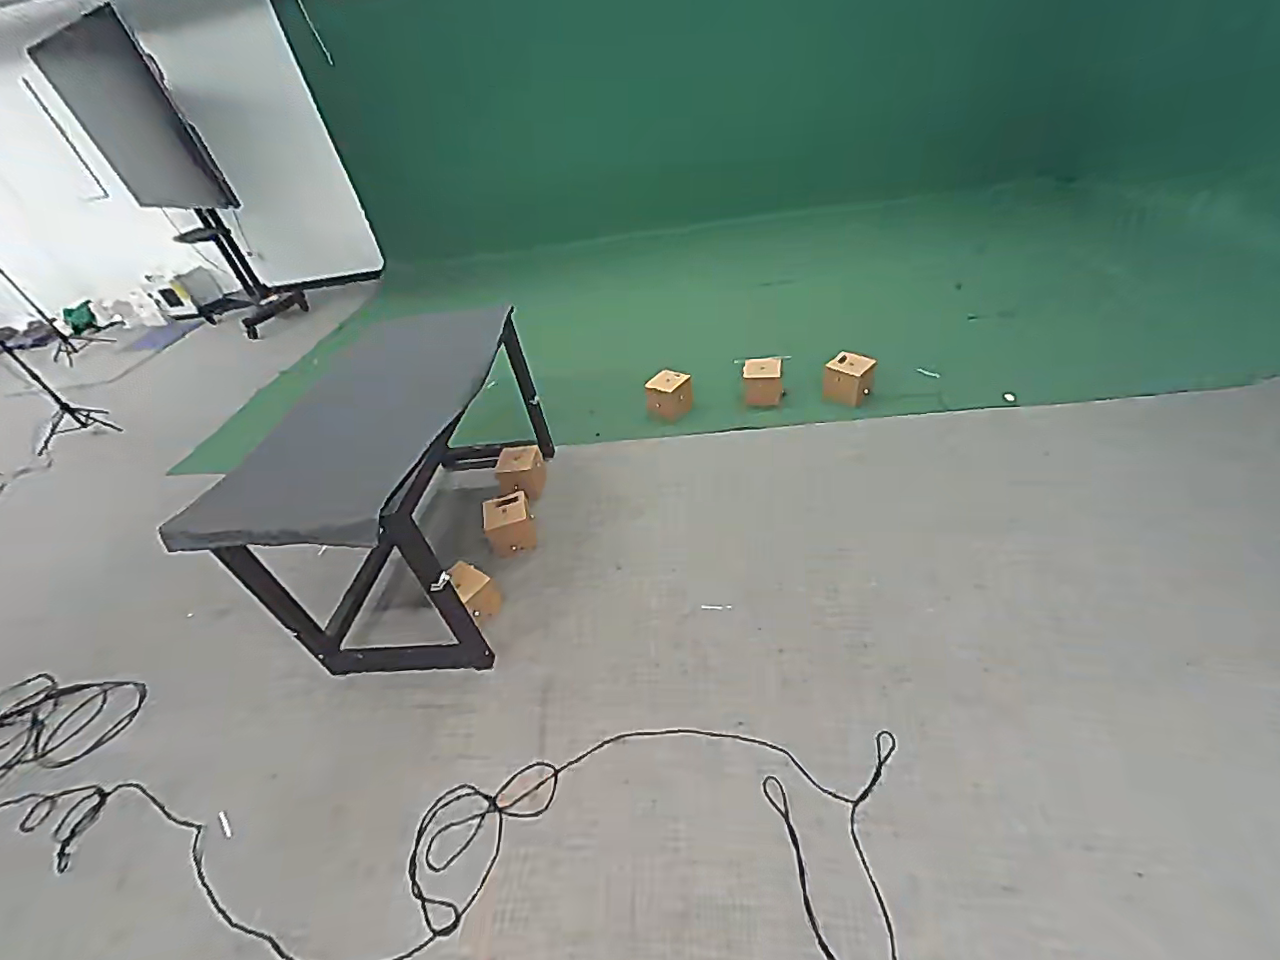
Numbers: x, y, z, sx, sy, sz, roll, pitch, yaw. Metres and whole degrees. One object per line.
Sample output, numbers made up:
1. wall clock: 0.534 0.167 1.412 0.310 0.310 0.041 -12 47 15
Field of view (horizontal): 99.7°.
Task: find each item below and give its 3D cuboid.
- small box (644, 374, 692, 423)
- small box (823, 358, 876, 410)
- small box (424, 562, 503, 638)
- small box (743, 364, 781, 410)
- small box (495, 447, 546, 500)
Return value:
1. small box: 0.148 -0.409 2.718 0.168 0.176 0.179 21 50 34
2. small box: 0.991 -0.456 2.575 0.168 0.176 0.179 -37 47 -28
3. small box: -0.612 0.427 1.898 0.179 0.176 0.168 20 49 33
4. small box: 0.603 -0.458 2.669 0.179 0.176 0.168 3 42 14
5. small box: -0.526 -0.022 2.409 0.168 0.176 0.179 -4 40 7
